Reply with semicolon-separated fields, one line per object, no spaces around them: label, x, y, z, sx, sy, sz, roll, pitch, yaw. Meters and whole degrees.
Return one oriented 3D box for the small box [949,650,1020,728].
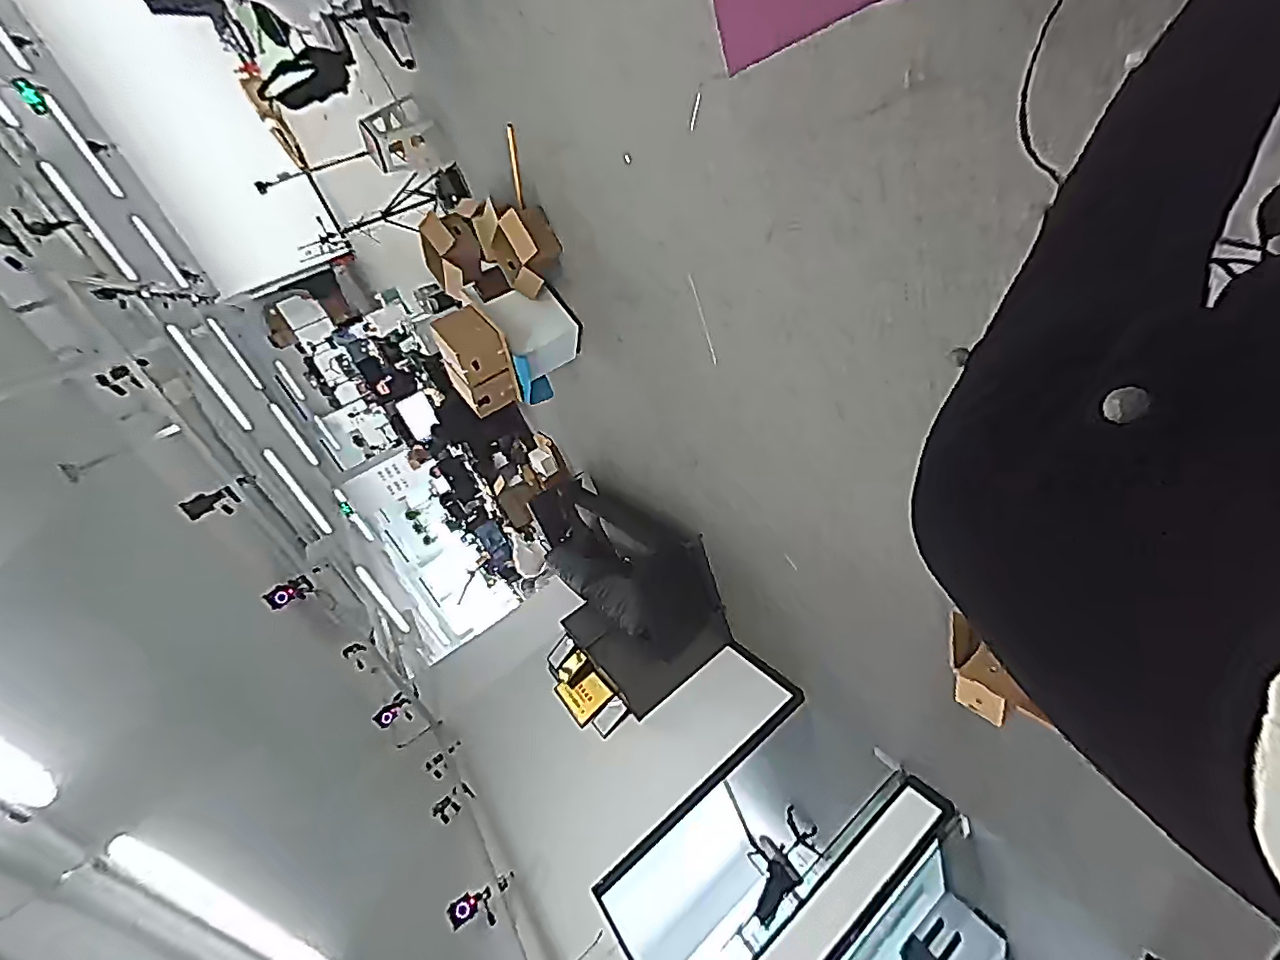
small box;1.284;0.771;2.014;0.168;0.176;0.179;29;144;49
